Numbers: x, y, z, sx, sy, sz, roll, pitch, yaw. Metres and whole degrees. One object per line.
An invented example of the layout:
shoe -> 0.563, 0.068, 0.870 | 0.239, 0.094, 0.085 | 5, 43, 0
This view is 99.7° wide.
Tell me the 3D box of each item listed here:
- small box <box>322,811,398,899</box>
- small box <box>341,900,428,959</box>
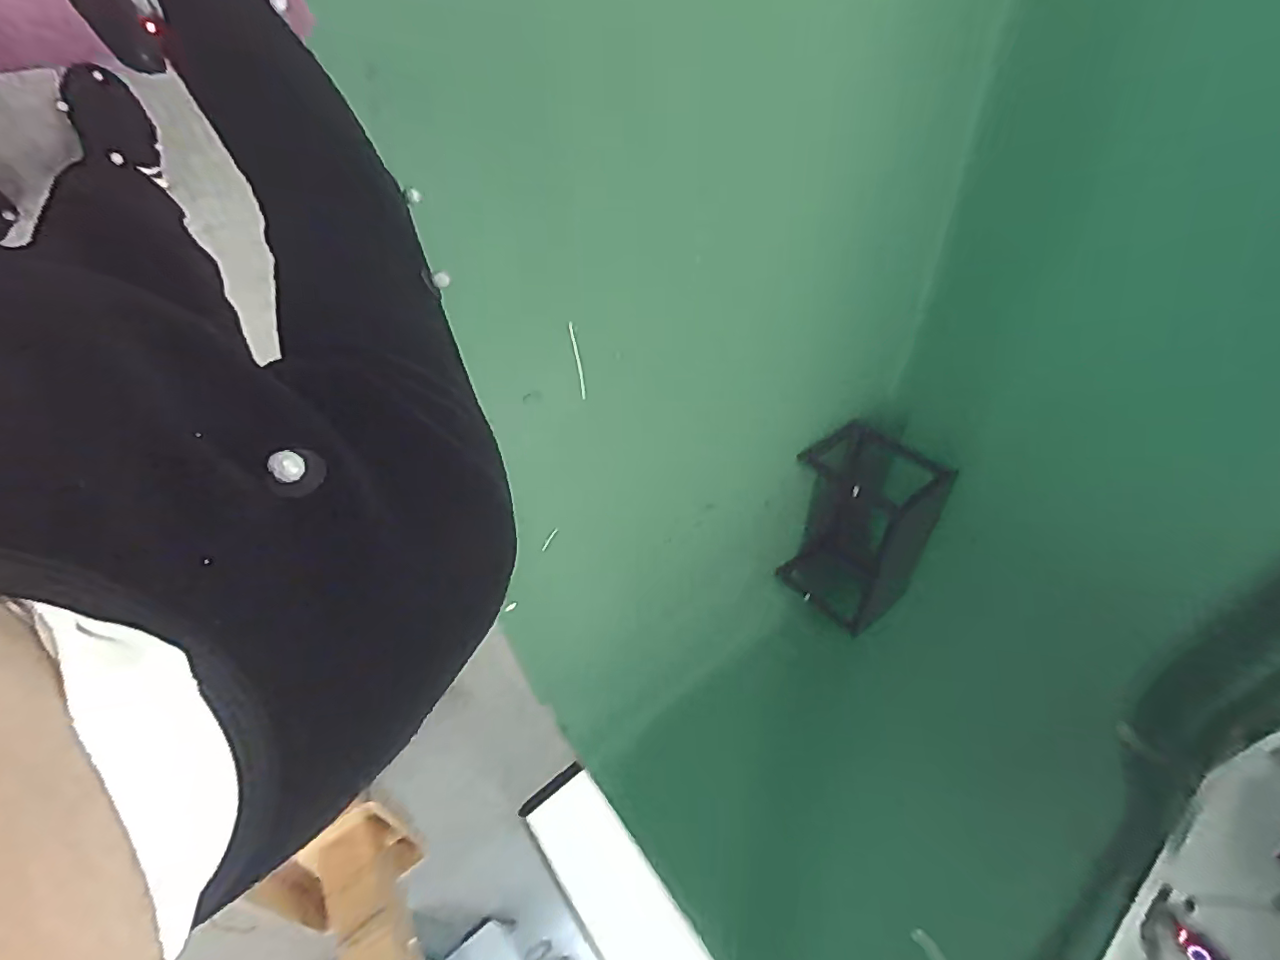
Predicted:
small box -> -0.983, 1.310, 1.897 | 0.168, 0.176, 0.179 | -29, 135, -24
small box -> -0.791, 1.451, 1.669 | 0.168, 0.176, 0.179 | -31, 136, -22
